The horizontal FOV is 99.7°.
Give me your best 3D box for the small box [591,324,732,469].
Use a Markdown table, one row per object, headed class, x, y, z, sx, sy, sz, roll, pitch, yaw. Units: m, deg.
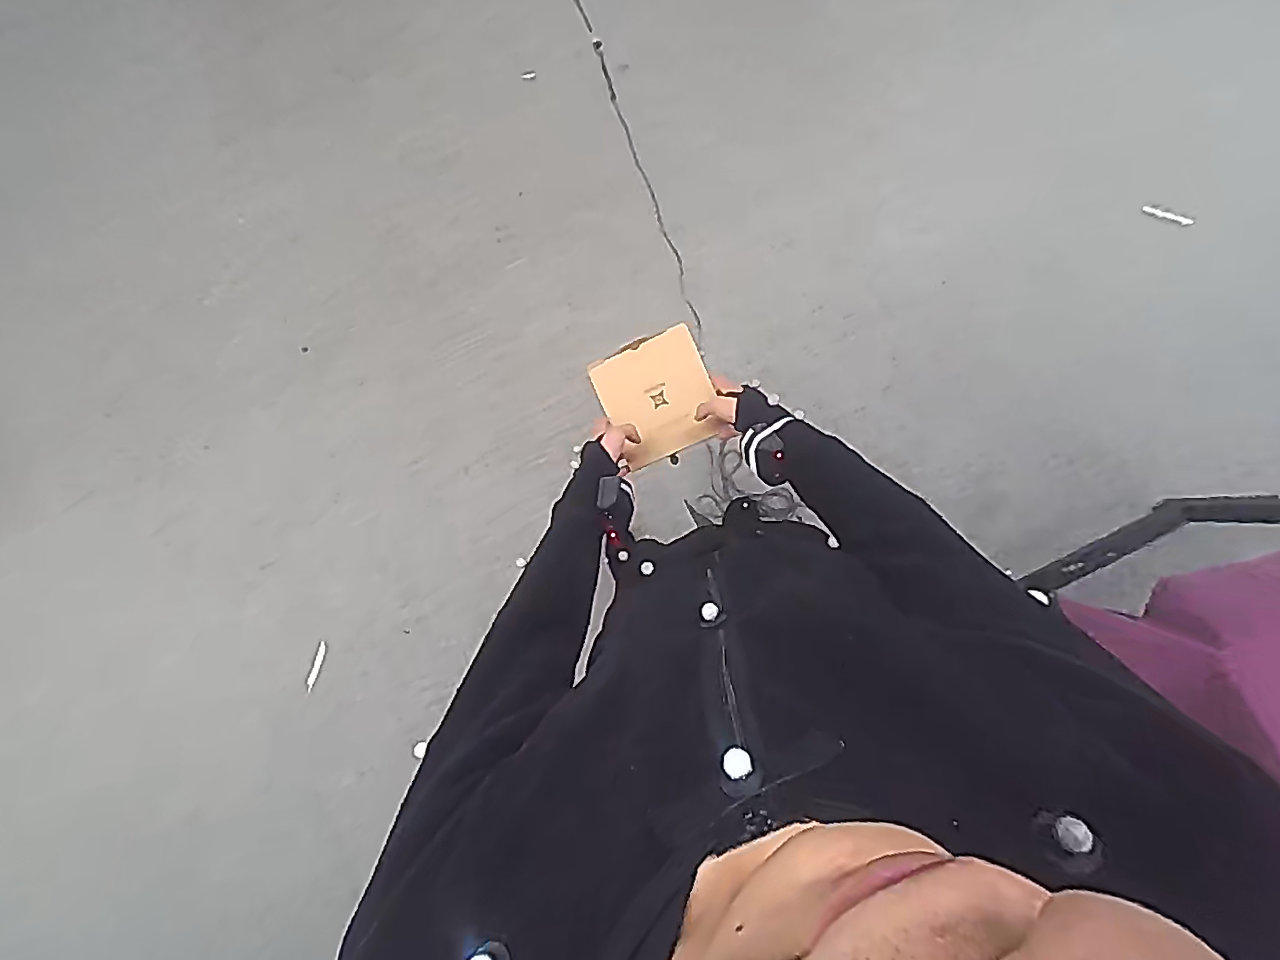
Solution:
| class | x | y | z | sx | sy | sz | roll | pitch | yaw |
| --- | --- | --- | --- | --- | --- | --- | --- | --- | --- |
| small box | 0.037 | -0.127 | 0.888 | 0.168 | 0.176 | 0.179 | -23 | 91 | 6 |
